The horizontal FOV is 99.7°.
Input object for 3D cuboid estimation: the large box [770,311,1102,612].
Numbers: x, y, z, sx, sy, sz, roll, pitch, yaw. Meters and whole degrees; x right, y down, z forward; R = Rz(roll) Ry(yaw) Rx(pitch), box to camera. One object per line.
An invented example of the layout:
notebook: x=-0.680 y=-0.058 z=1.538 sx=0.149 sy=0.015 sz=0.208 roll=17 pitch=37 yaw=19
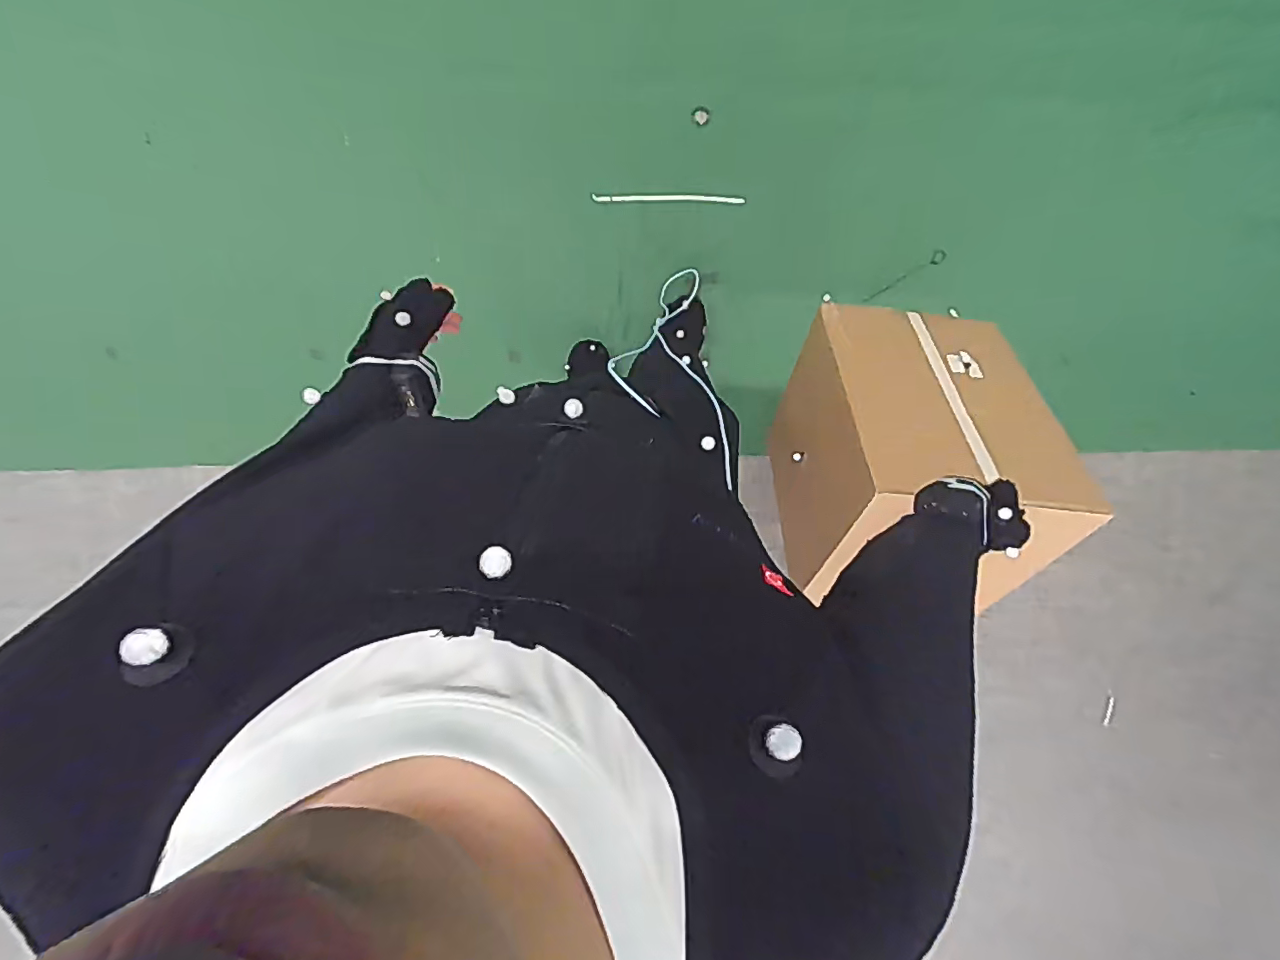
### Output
large box: x=0.432 y=-0.028 z=0.920 sx=0.320 sy=0.408 sz=0.320 roll=6 pitch=140 yaw=-4
